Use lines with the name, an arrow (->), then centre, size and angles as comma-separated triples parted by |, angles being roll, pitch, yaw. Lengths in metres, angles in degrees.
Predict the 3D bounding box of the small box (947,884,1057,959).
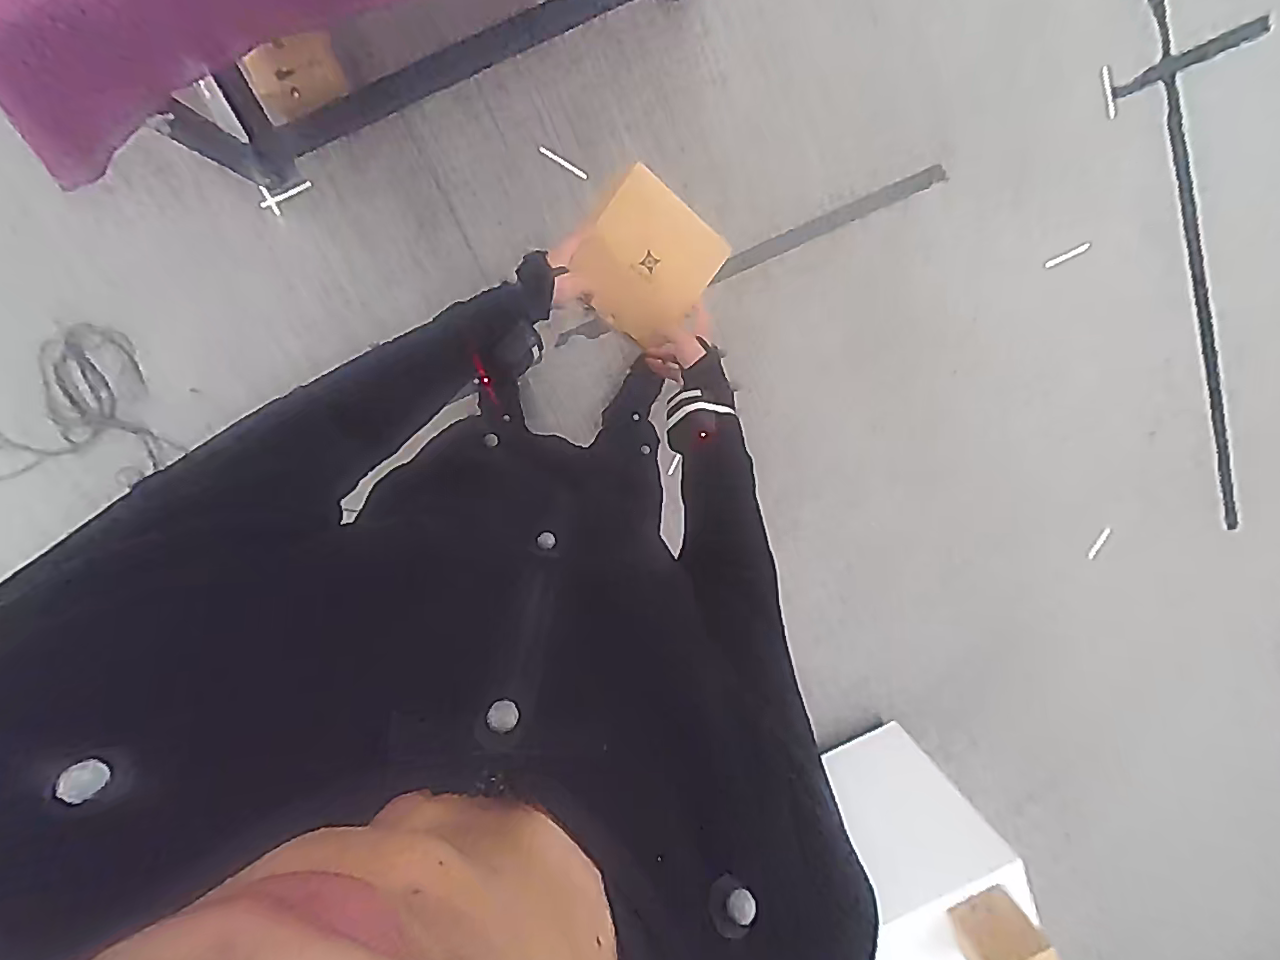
small box -> 0.922, 1.191, 1.377 | 0.168, 0.176, 0.179 | -23, 106, -3

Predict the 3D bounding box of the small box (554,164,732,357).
small box -> -0.008, -0.305, 0.767 | 0.168, 0.176, 0.179 | 32, 101, -24
